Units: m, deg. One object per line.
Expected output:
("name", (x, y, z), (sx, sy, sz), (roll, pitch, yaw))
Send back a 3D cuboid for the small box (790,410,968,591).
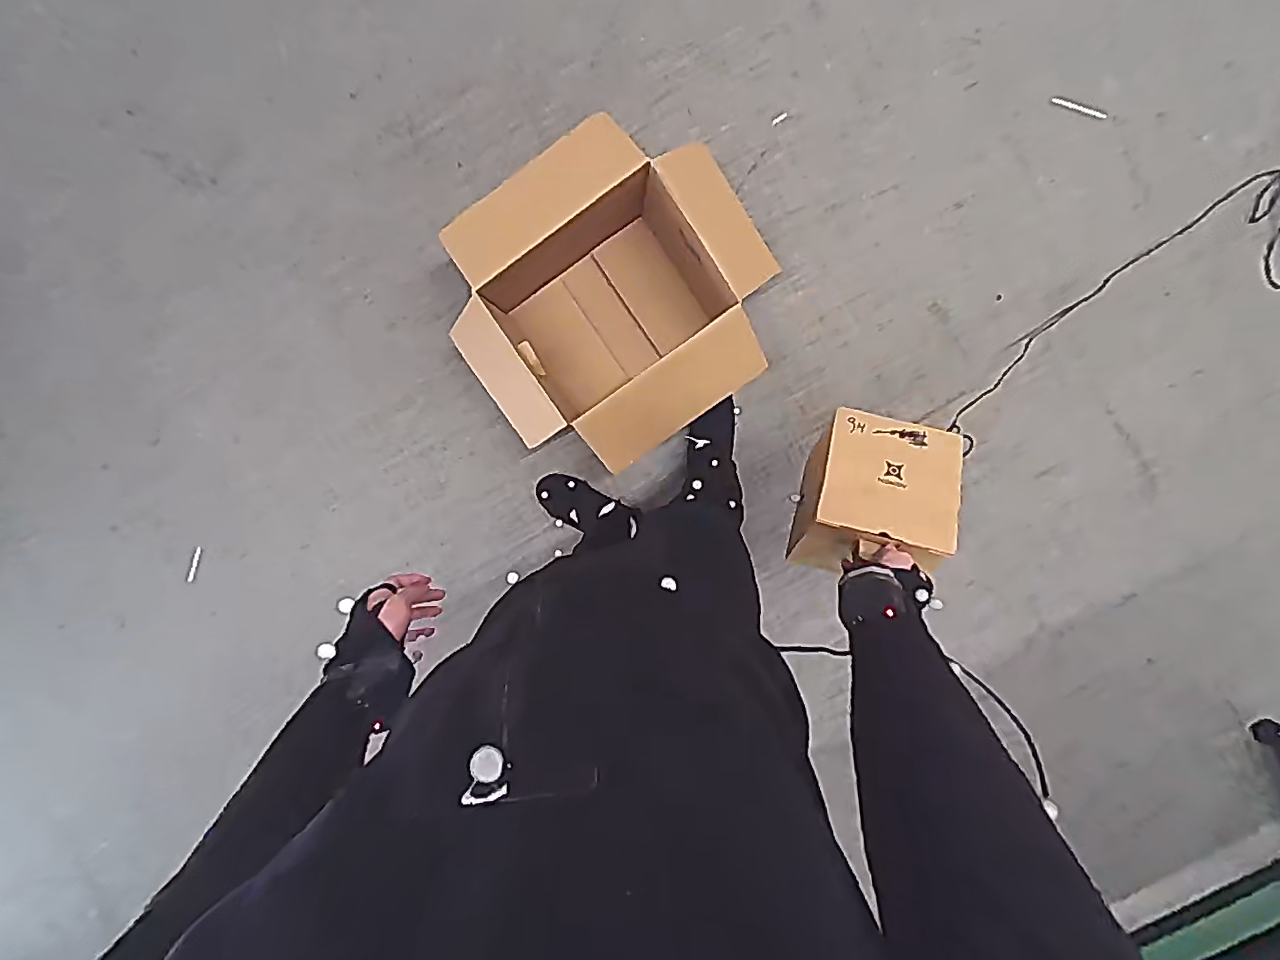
("small box", (0.319, 0.037, 0.749), (0.168, 0.176, 0.179), (18, 66, 8))
